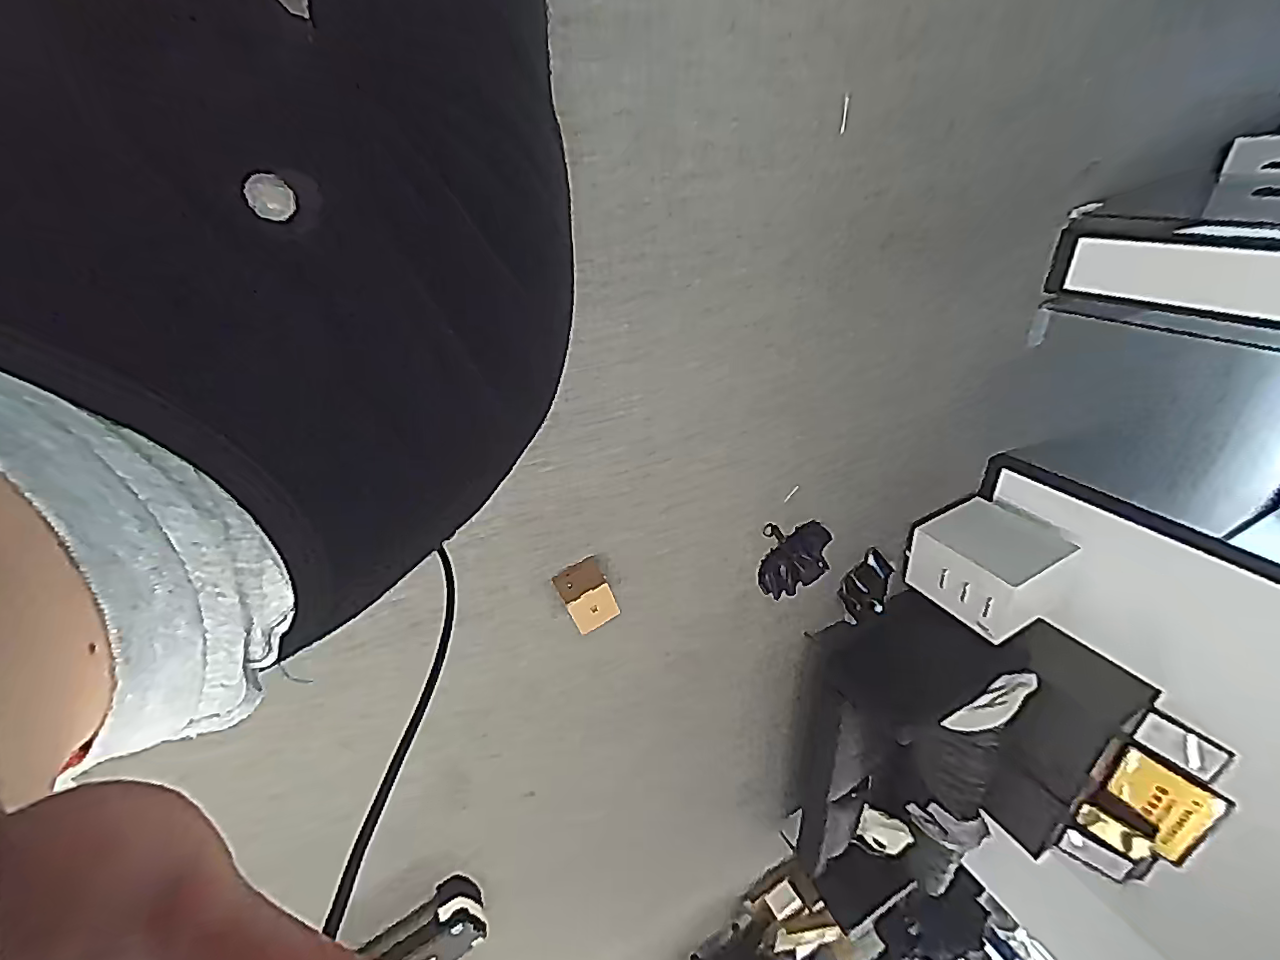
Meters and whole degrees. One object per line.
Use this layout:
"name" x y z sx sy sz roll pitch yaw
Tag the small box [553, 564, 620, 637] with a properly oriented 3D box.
"small box" -0.199 0.435 1.994 0.168 0.176 0.179 -29 128 -12
